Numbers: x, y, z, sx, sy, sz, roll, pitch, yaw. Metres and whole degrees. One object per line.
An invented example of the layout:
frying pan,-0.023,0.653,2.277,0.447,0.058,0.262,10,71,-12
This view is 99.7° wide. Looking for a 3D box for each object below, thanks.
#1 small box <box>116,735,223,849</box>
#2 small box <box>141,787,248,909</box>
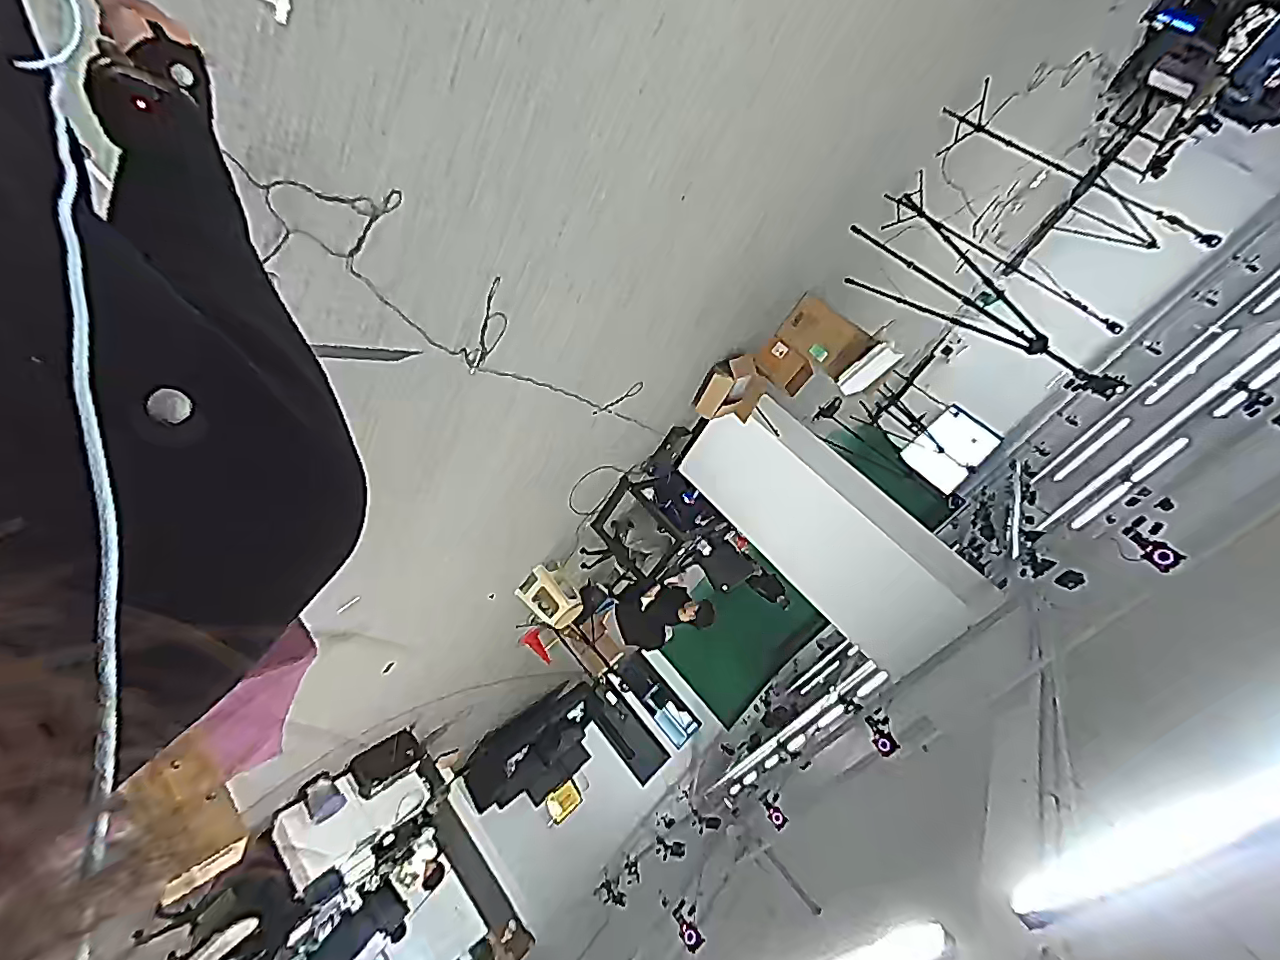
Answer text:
small box,-1.240,0.806,1.422,0.168,0.176,0.179,-11,141,-56
small box,-1.134,0.924,1.375,0.168,0.176,0.179,-16,146,-53
